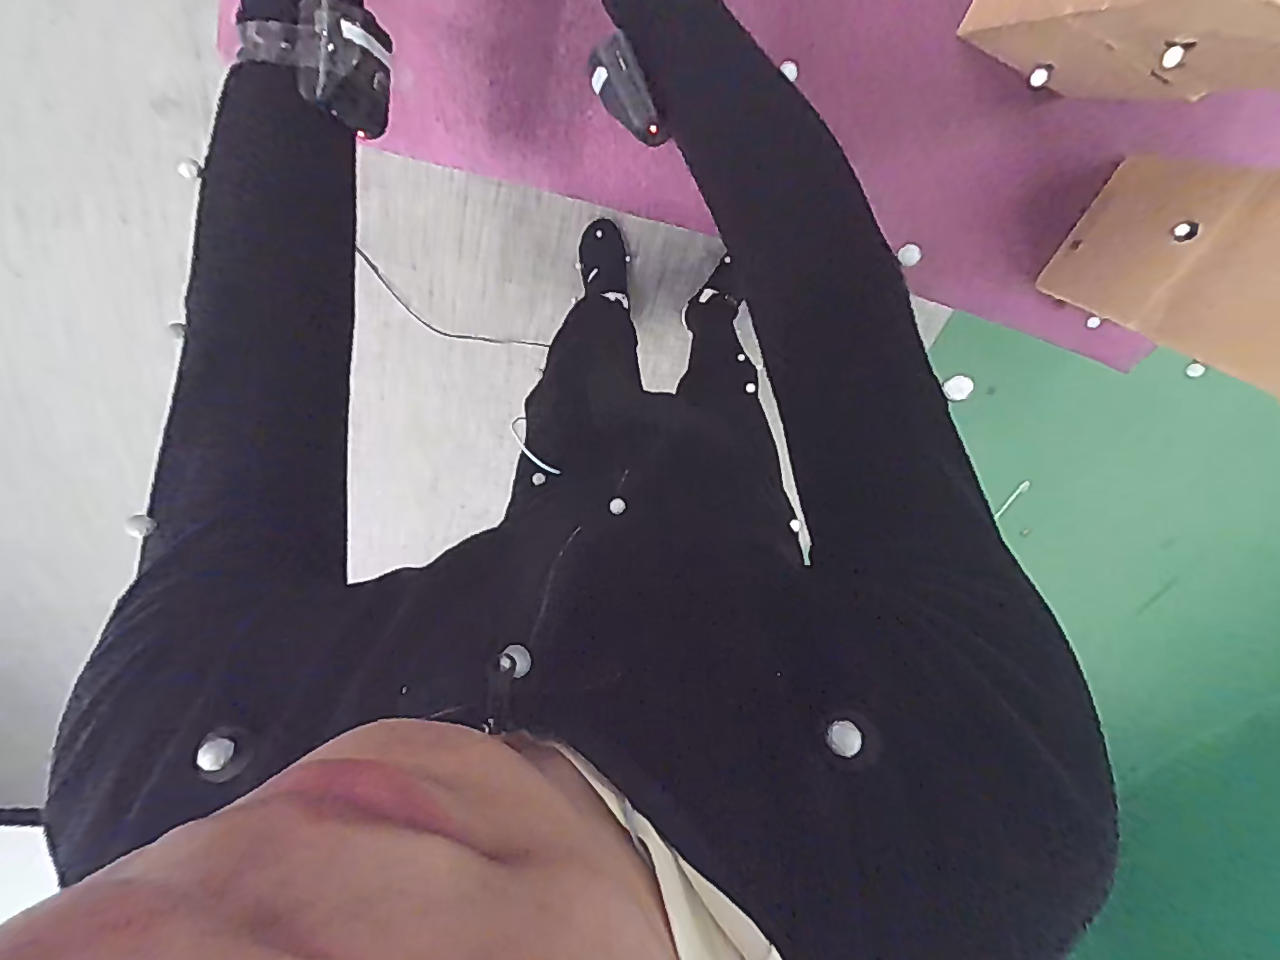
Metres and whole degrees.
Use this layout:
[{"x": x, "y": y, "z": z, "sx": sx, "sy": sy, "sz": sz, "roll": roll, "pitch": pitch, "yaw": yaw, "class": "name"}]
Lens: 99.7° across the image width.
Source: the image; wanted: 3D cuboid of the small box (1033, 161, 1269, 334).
[{"x": 0.645, "y": -0.266, "z": 0.655, "sx": 0.179, "sy": 0.176, "sz": 0.168, "roll": 14, "pitch": 123, "yaw": -15, "class": "small box"}]

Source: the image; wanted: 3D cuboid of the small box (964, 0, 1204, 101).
[{"x": 0.442, "y": -0.474, "z": 0.484, "sx": 0.168, "sy": 0.176, "sz": 0.179, "roll": 14, "pitch": 124, "yaw": -15, "class": "small box"}]

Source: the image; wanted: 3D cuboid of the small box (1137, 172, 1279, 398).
[{"x": 0.660, "y": -0.173, "z": 0.521, "sx": 0.168, "sy": 0.176, "sz": 0.179, "roll": 15, "pitch": 123, "yaw": -13, "class": "small box"}]

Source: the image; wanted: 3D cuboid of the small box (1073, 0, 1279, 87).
[{"x": 0.450, "y": -0.383, "z": 0.349, "sx": 0.168, "sy": 0.176, "sz": 0.179, "roll": 11, "pitch": 125, "yaw": -14, "class": "small box"}]
